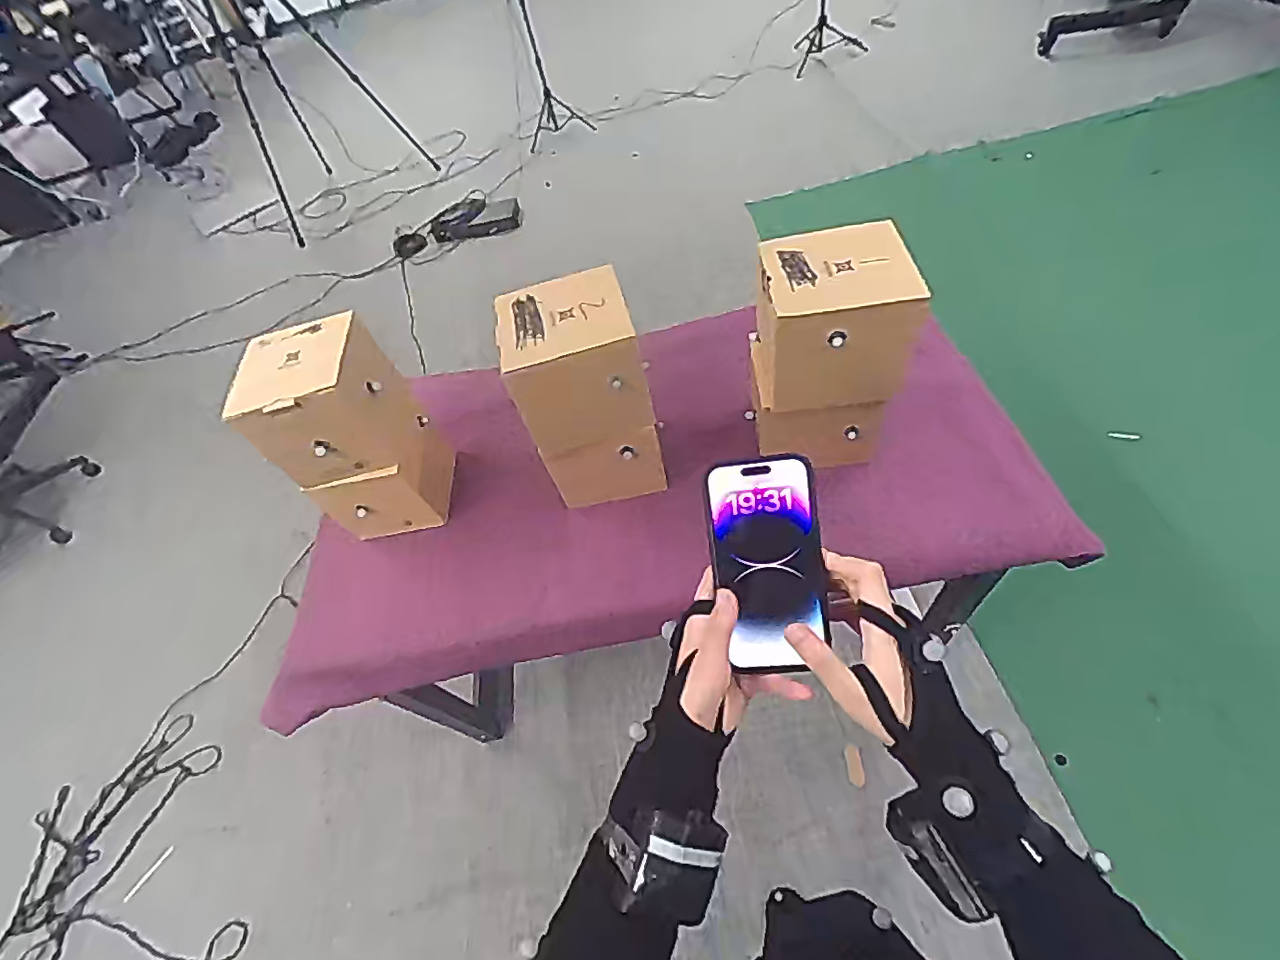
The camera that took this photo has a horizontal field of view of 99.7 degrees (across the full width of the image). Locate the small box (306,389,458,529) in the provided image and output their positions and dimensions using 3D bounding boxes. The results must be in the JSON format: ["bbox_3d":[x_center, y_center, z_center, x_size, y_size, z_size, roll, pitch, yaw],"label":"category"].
[{"bbox_3d":[-0.439,-0.028,0.953,0.168,0.176,0.179,-11,54,6],"label":"small box"}]

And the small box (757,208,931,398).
[{"bbox_3d":[0.257,-0.227,0.723,0.179,0.176,0.168,-6,54,8],"label":"small box"}]

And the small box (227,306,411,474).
[{"bbox_3d":[-0.471,-0.128,0.826,0.168,0.176,0.179,-15,54,2],"label":"small box"}]

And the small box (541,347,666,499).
[{"bbox_3d":[-0.056,-0.090,0.903,0.179,0.176,0.168,-12,54,6],"label":"small box"}]

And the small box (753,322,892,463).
[{"bbox_3d":[0.279,-0.145,0.864,0.179,0.176,0.168,-7,54,10],"label":"small box"}]
